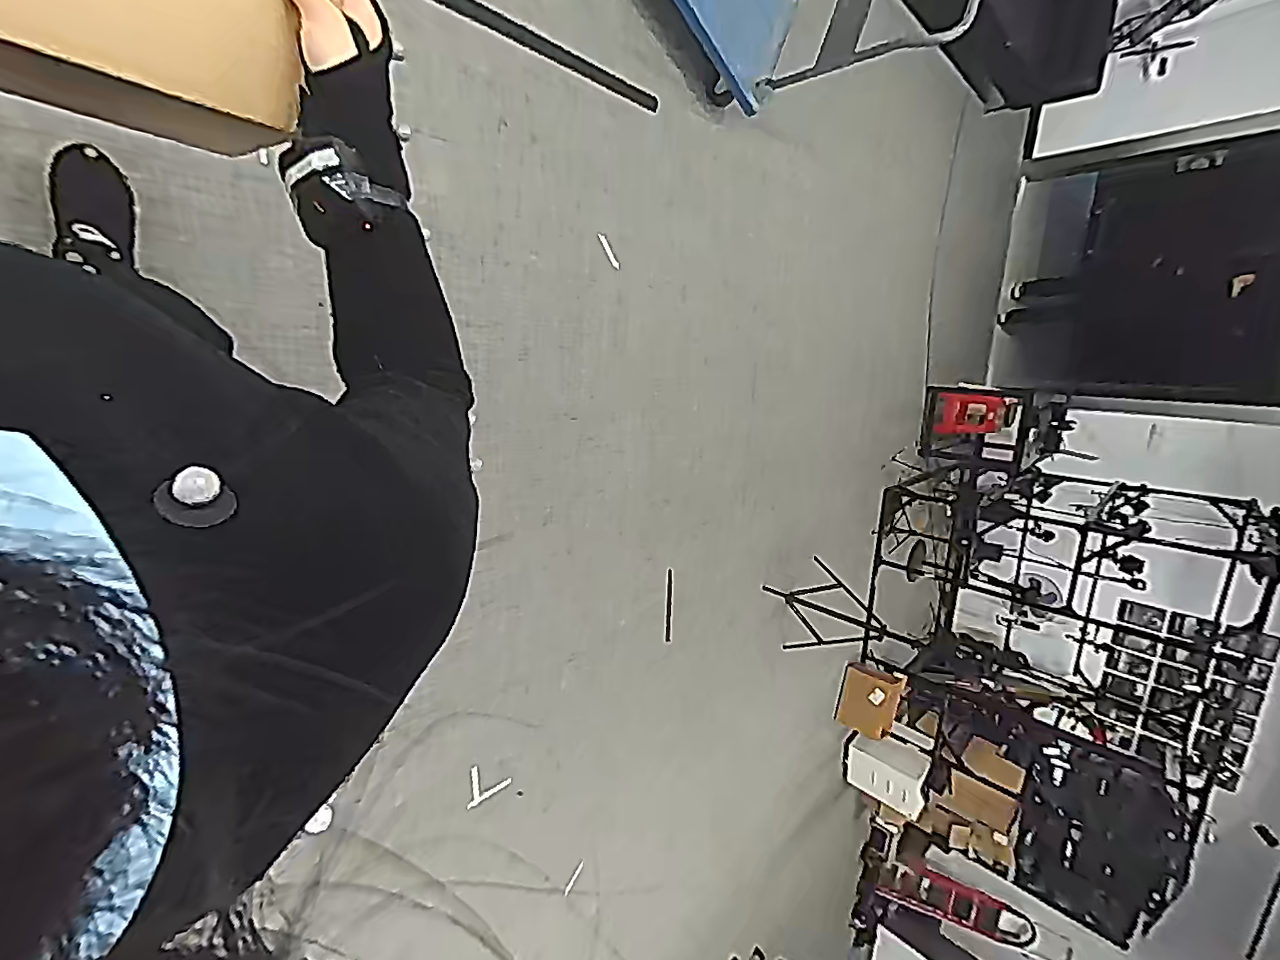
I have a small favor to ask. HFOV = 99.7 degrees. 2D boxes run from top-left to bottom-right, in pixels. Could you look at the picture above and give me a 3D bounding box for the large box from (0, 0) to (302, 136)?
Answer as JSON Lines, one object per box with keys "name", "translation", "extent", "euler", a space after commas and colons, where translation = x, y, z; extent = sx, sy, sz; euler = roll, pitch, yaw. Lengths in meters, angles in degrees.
{"name": "large box", "translation": [-0.490, -0.470, 0.357], "extent": [0.408, 0.320, 0.320], "euler": [-6, 113, -44]}
